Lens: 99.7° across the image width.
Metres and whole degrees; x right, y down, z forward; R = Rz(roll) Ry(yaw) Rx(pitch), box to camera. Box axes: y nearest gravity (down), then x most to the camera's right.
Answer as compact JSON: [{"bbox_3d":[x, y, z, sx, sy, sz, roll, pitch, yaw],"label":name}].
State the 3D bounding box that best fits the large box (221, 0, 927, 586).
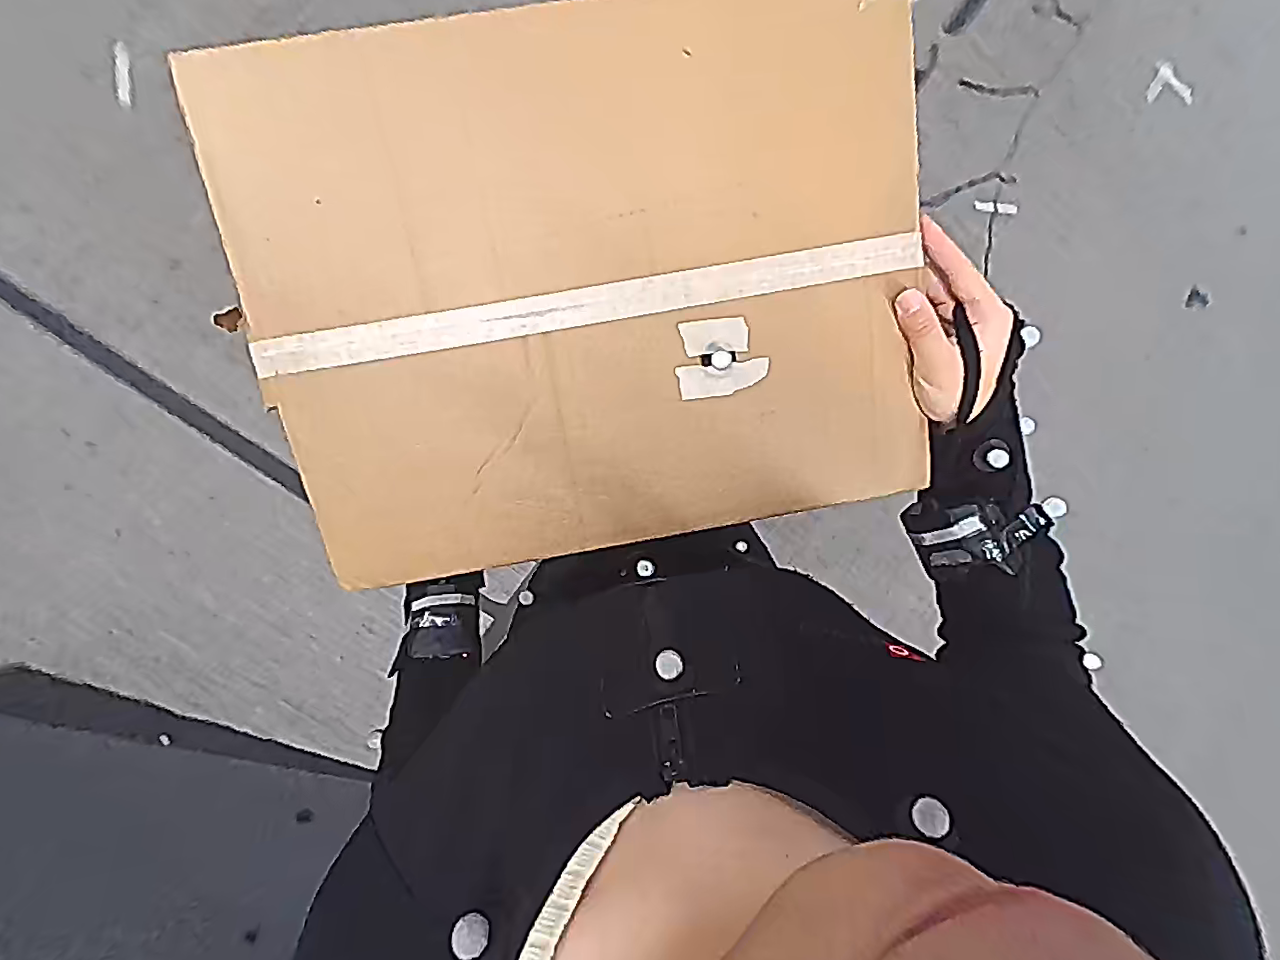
[{"bbox_3d":[-0.029,-0.142,0.485,0.408,0.320,0.320,-10,105,-3],"label":"large box"}]
